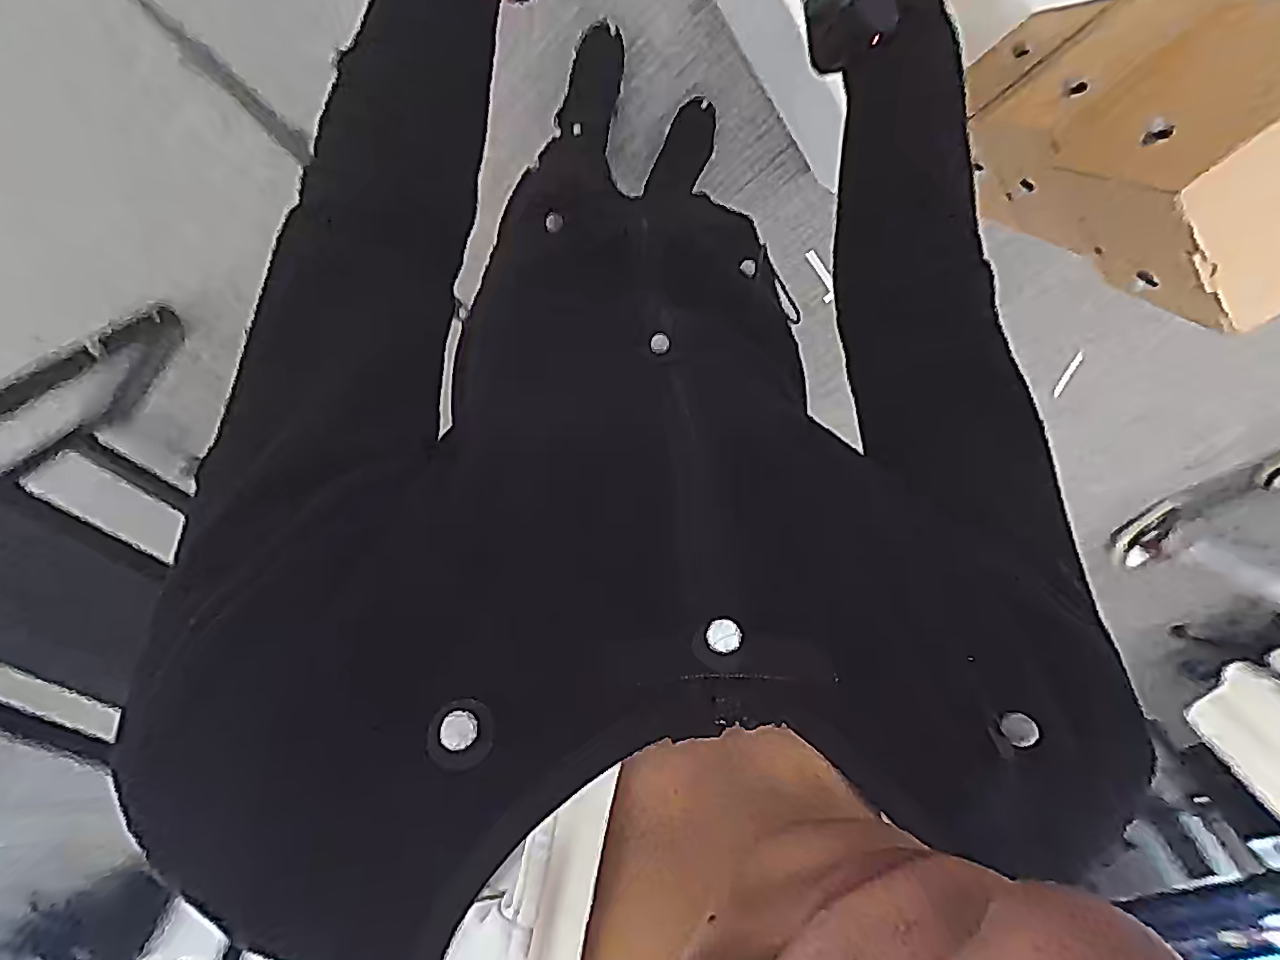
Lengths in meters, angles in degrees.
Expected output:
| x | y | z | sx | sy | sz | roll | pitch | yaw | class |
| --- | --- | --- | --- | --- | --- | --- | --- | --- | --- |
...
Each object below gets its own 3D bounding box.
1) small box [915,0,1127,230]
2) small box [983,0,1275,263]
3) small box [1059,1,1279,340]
| x | y | z | sx | sy | sz | roll | pitch | yaw | class |
| --- | --- | --- | --- | --- | --- | --- | --- | --- | --- |
| 0.505 | -0.471 | 0.711 | 0.179 | 0.176 | 0.168 | -36 | 118 | 23 | small box |
| 0.506 | -0.372 | 0.578 | 0.179 | 0.176 | 0.168 | -35 | 119 | 23 | small box |
| 0.507 | -0.260 | 0.459 | 0.168 | 0.176 | 0.179 | 38 | 118 | -25 | small box |
